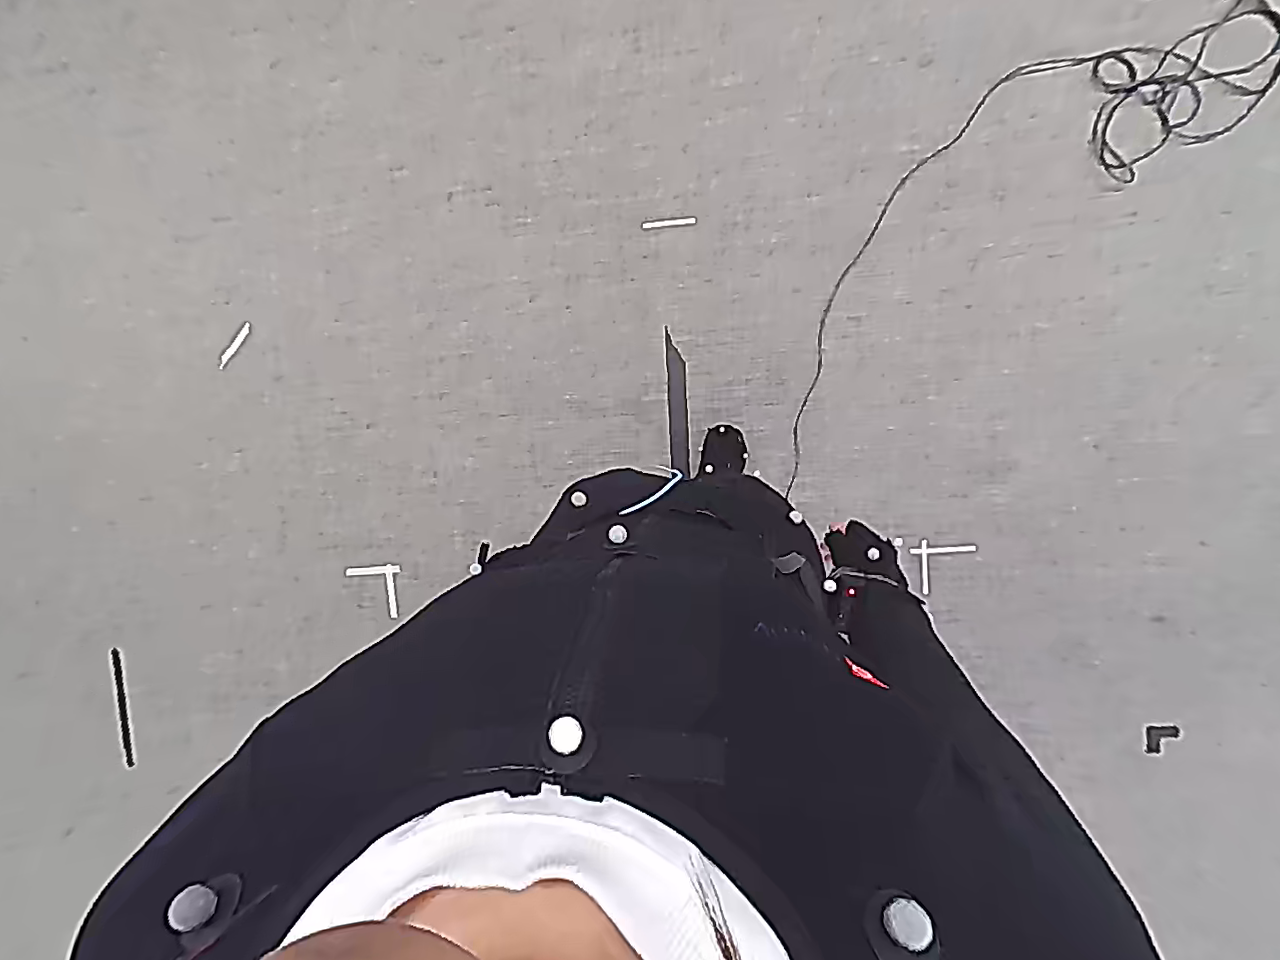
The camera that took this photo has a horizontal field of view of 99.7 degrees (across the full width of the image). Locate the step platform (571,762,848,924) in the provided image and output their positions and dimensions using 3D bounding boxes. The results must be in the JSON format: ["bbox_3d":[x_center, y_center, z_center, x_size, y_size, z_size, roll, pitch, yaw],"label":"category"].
[{"bbox_3d":[0.168,0.915,1.384,0.684,0.204,0.286,-4,92,10],"label":"step platform"}]
